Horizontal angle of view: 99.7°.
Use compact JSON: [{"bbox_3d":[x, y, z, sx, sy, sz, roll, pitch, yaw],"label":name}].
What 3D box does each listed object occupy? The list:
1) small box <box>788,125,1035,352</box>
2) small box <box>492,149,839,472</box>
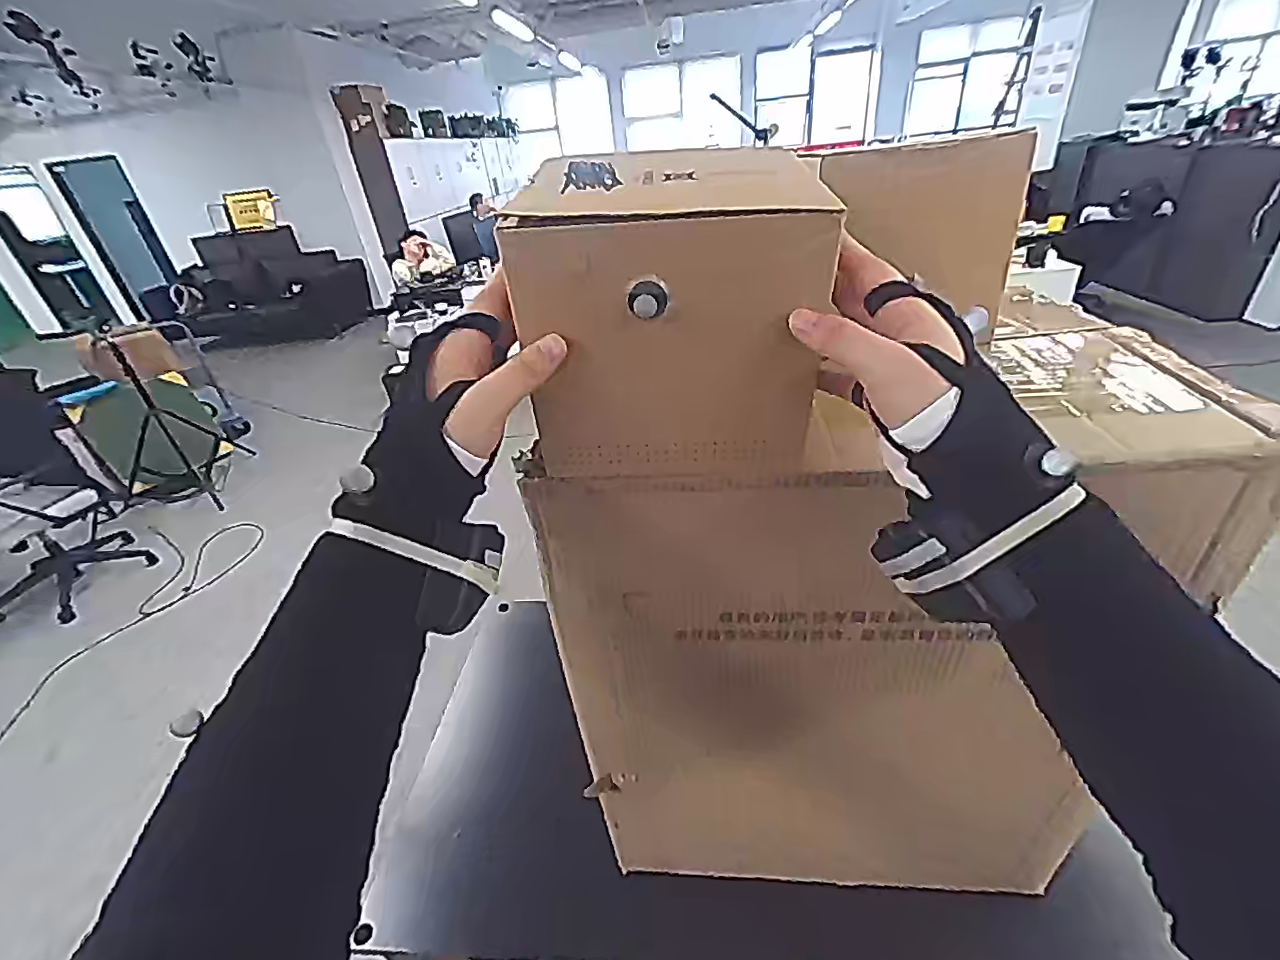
[{"bbox_3d":[0.233,-0.233,0.530,0.168,0.176,0.179,-5,30,5],"label":"small box"},{"bbox_3d":[0.019,-0.117,0.375,0.179,0.176,0.168,-1,39,3],"label":"small box"}]
